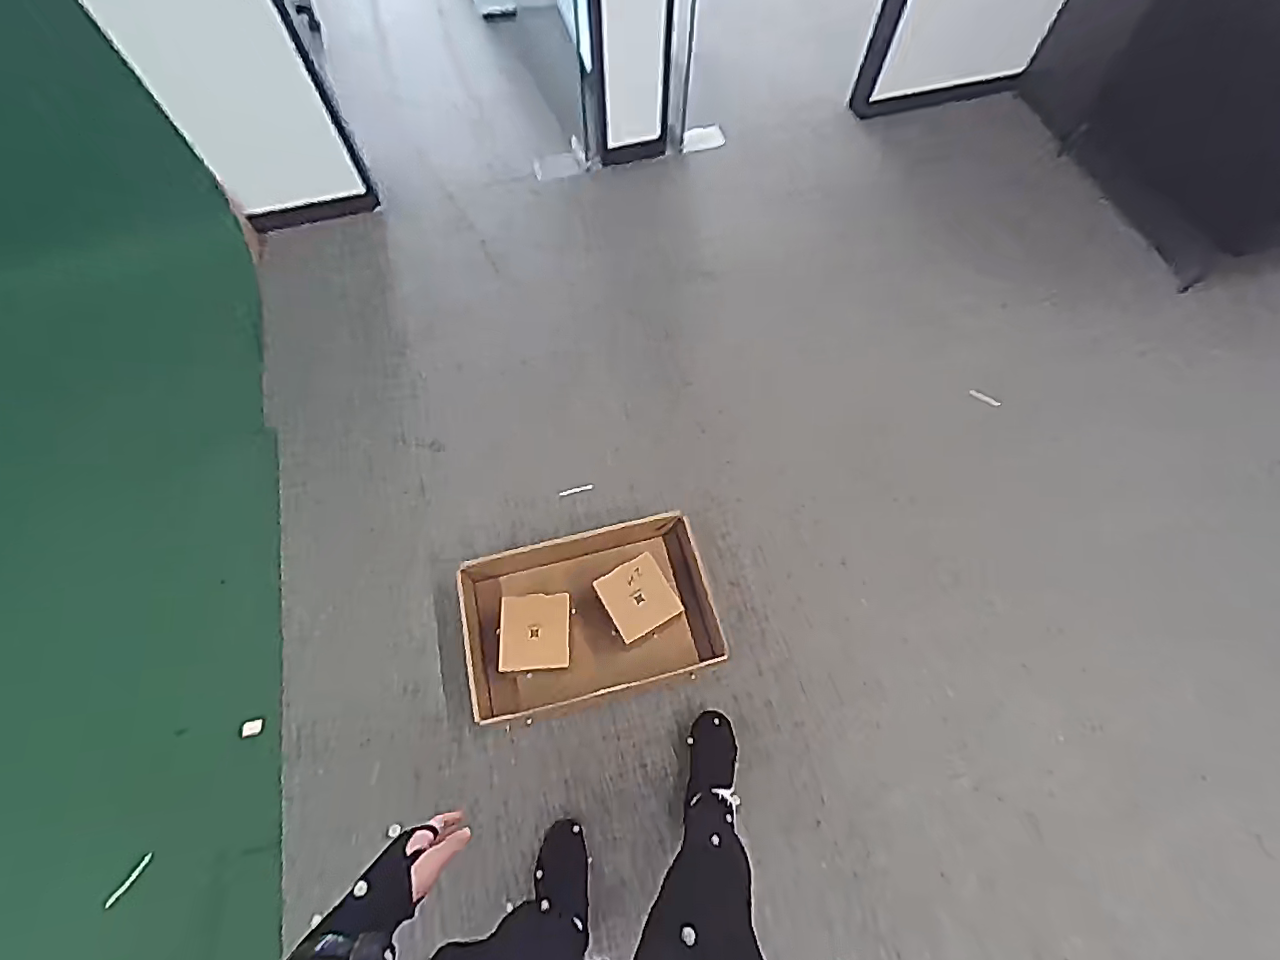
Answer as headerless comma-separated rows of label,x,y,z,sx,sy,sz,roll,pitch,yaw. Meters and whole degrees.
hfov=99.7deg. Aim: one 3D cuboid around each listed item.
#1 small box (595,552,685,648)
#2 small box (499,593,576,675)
small box,0.000,0.317,1.394,0.168,0.176,0.179,-28,69,-12
small box,-0.249,0.393,1.359,0.168,0.176,0.179,-3,64,-3
